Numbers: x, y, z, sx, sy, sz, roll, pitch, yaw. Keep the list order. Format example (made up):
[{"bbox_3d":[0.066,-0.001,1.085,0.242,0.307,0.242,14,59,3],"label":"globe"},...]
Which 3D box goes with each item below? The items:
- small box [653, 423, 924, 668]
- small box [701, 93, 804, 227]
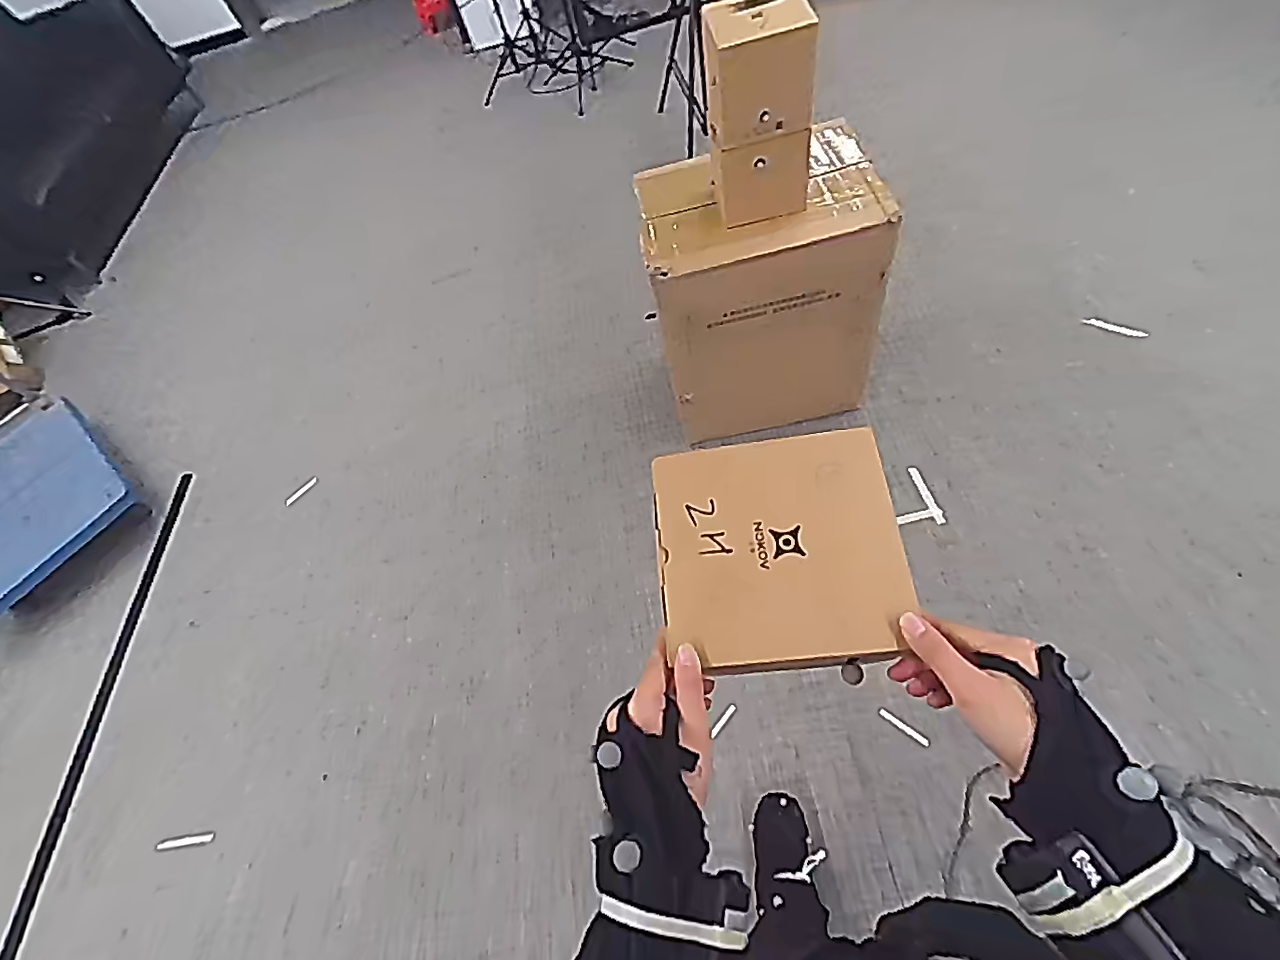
[{"bbox_3d":[0.114,0.070,0.472,0.179,0.176,0.168,-8,67,9],"label":"small box"},{"bbox_3d":[0.234,-0.661,1.131,0.179,0.176,0.168,-11,58,6],"label":"small box"}]
